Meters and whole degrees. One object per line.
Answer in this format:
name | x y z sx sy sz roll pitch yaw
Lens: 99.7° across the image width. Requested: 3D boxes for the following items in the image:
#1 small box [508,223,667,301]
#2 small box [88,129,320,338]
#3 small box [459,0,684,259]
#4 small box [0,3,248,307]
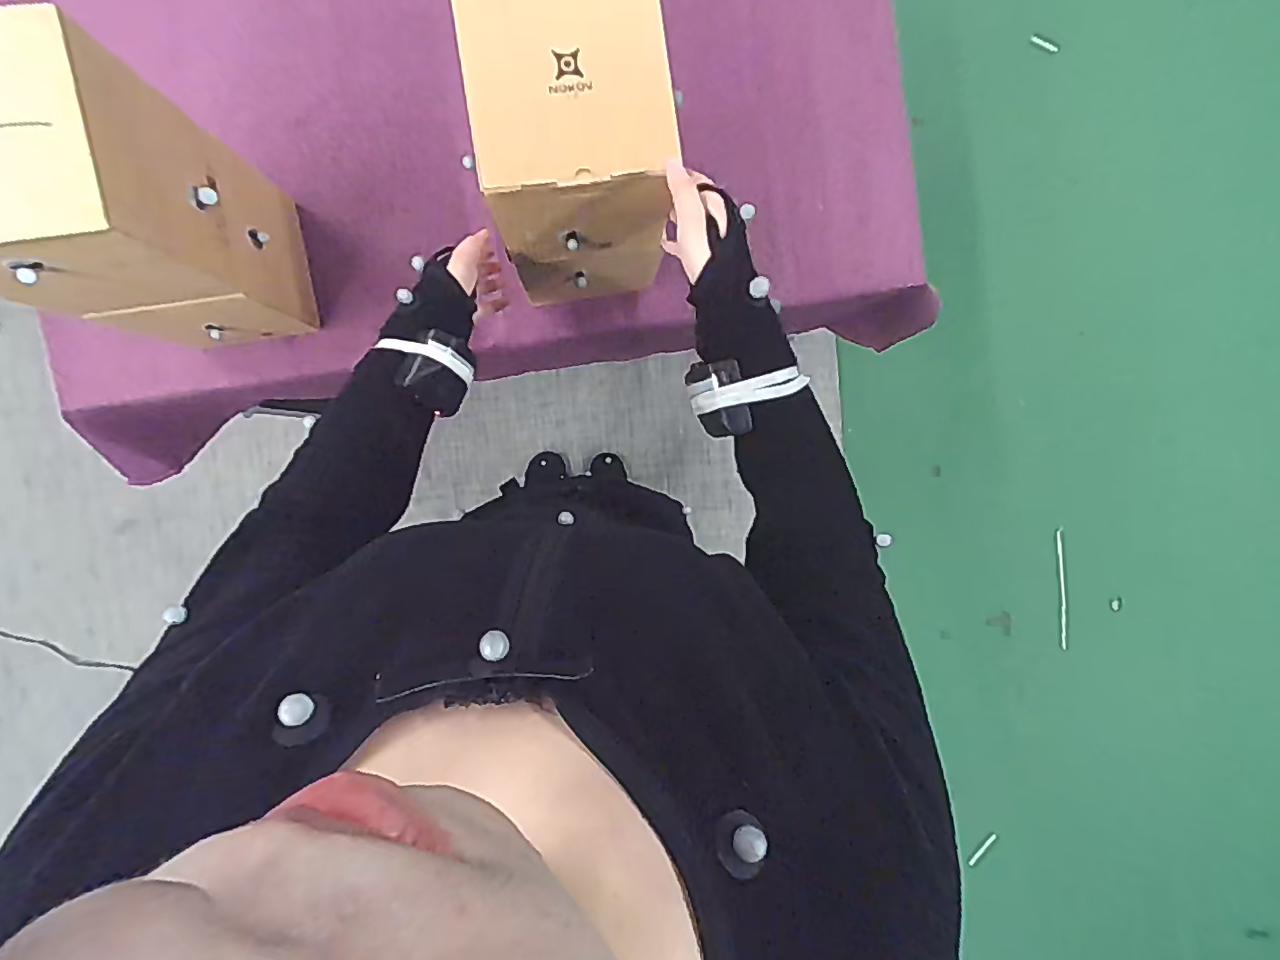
small box | -0.071 -0.335 0.674 0.179 0.176 0.168 -10 95 -3
small box | -0.513 -0.273 0.642 0.168 0.176 0.179 -9 94 -5
small box | -0.062 -0.332 0.511 0.168 0.176 0.179 -9 94 -4
small box | -0.500 -0.263 0.478 0.179 0.176 0.168 -10 94 -5
